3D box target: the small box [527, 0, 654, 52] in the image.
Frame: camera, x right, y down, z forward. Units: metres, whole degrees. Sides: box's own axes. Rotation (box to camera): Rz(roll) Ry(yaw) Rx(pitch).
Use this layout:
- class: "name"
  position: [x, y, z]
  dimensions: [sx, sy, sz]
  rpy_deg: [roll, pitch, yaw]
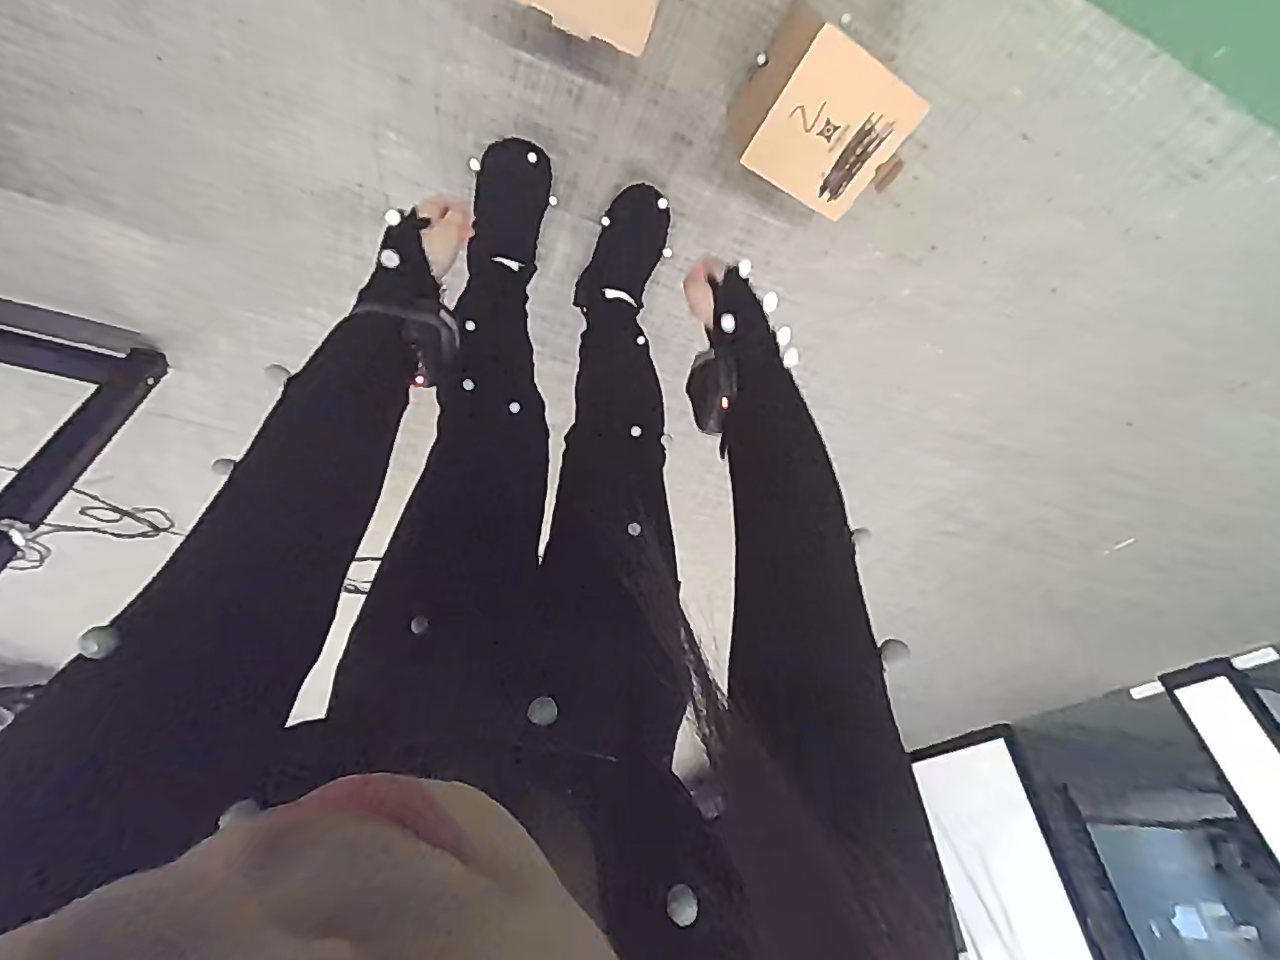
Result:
- class: "small box"
  position: [-0.045, -0.609, 0.570]
  dimensions: [0.168, 0.176, 0.179]
  rpy_deg: [13, 140, -16]
